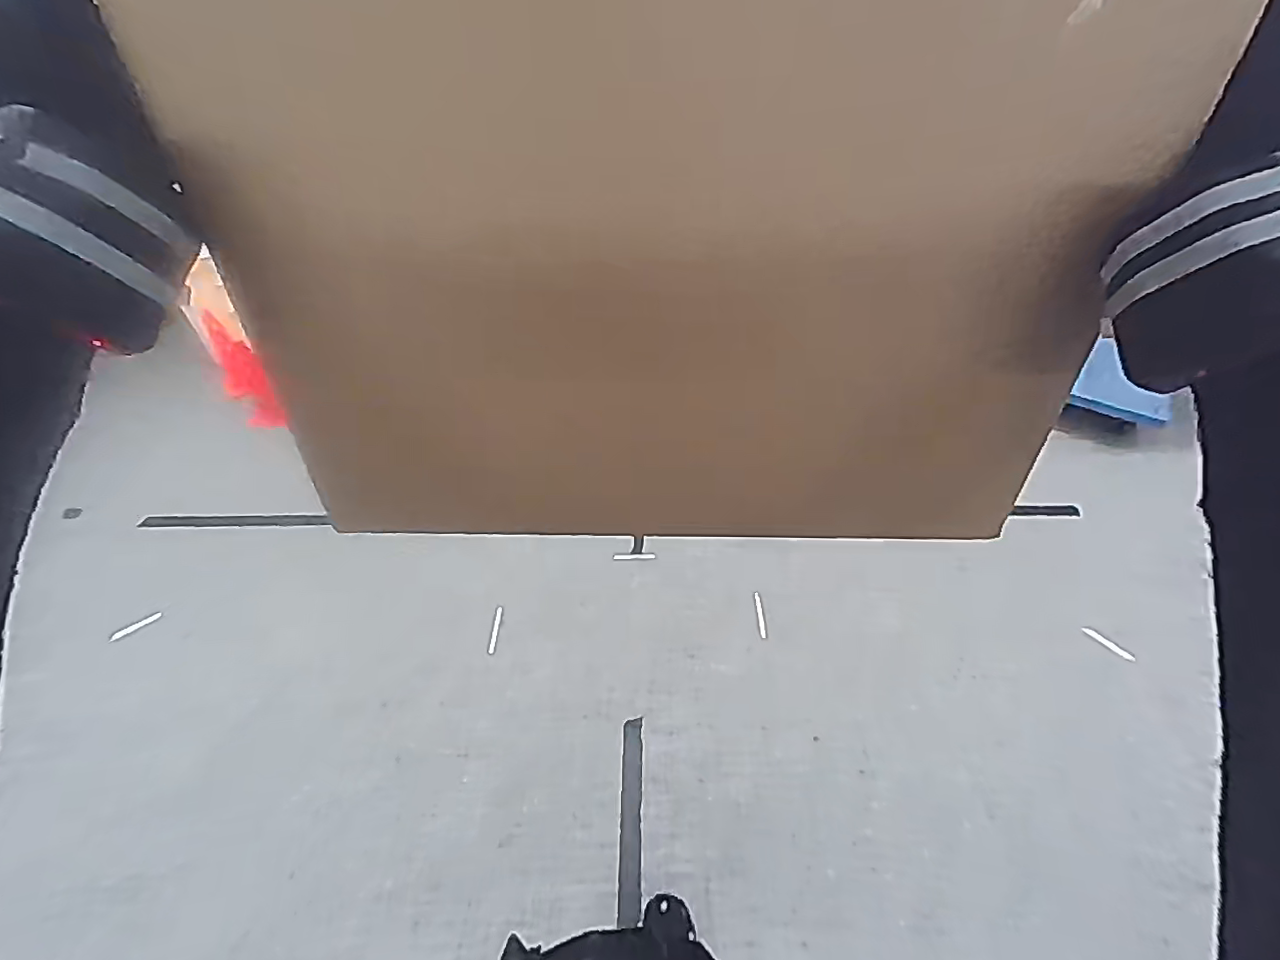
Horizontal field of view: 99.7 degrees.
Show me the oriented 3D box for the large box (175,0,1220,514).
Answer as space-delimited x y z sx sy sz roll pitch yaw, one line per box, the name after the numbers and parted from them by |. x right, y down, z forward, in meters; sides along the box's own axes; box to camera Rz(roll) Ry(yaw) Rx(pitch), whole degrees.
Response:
0.020 -0.186 0.377 0.408 0.320 0.320 1 36 0 | large box
